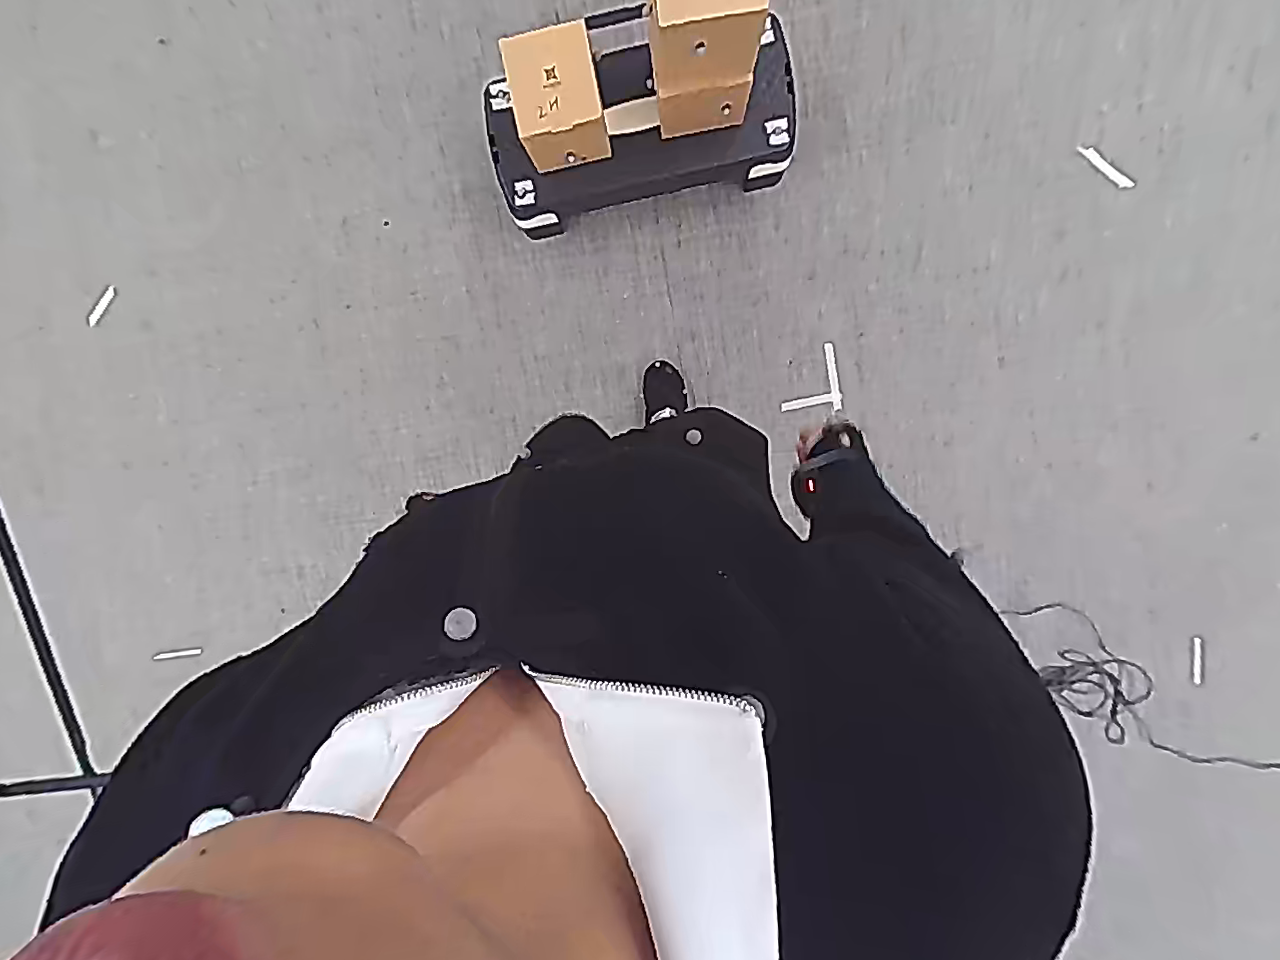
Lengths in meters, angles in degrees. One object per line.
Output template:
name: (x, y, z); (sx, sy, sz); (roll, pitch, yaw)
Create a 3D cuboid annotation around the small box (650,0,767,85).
small box: (0.105, -0.797, 0.899); (0.179, 0.176, 0.168); (-7, 99, 4)

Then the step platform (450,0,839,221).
step platform: (0.006, -0.730, 1.043); (0.684, 0.204, 0.286); (-11, 98, 4)

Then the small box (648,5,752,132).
small box: (0.113, -0.806, 1.062); (0.179, 0.176, 0.168); (-8, 99, 4)

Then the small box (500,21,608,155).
small box: (-0.162, -0.753, 1.082); (0.168, 0.176, 0.179); (-11, 99, 4)
